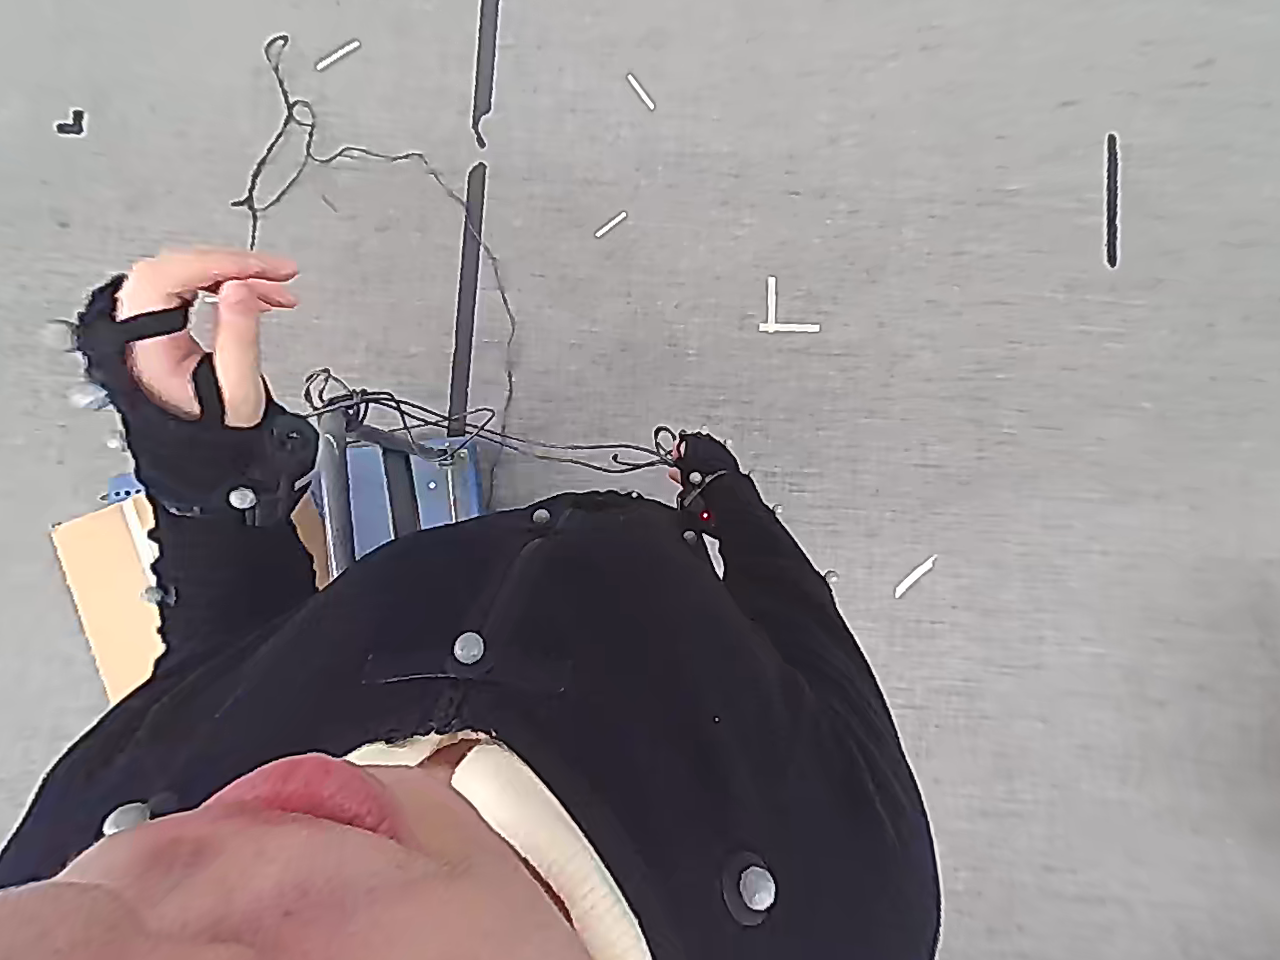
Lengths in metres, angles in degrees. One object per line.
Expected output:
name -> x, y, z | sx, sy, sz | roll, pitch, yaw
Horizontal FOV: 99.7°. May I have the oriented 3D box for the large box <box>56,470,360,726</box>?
large box -> -0.878, 0.225, 1.153 | 0.320, 0.320, 0.408 | -21, 88, -3
